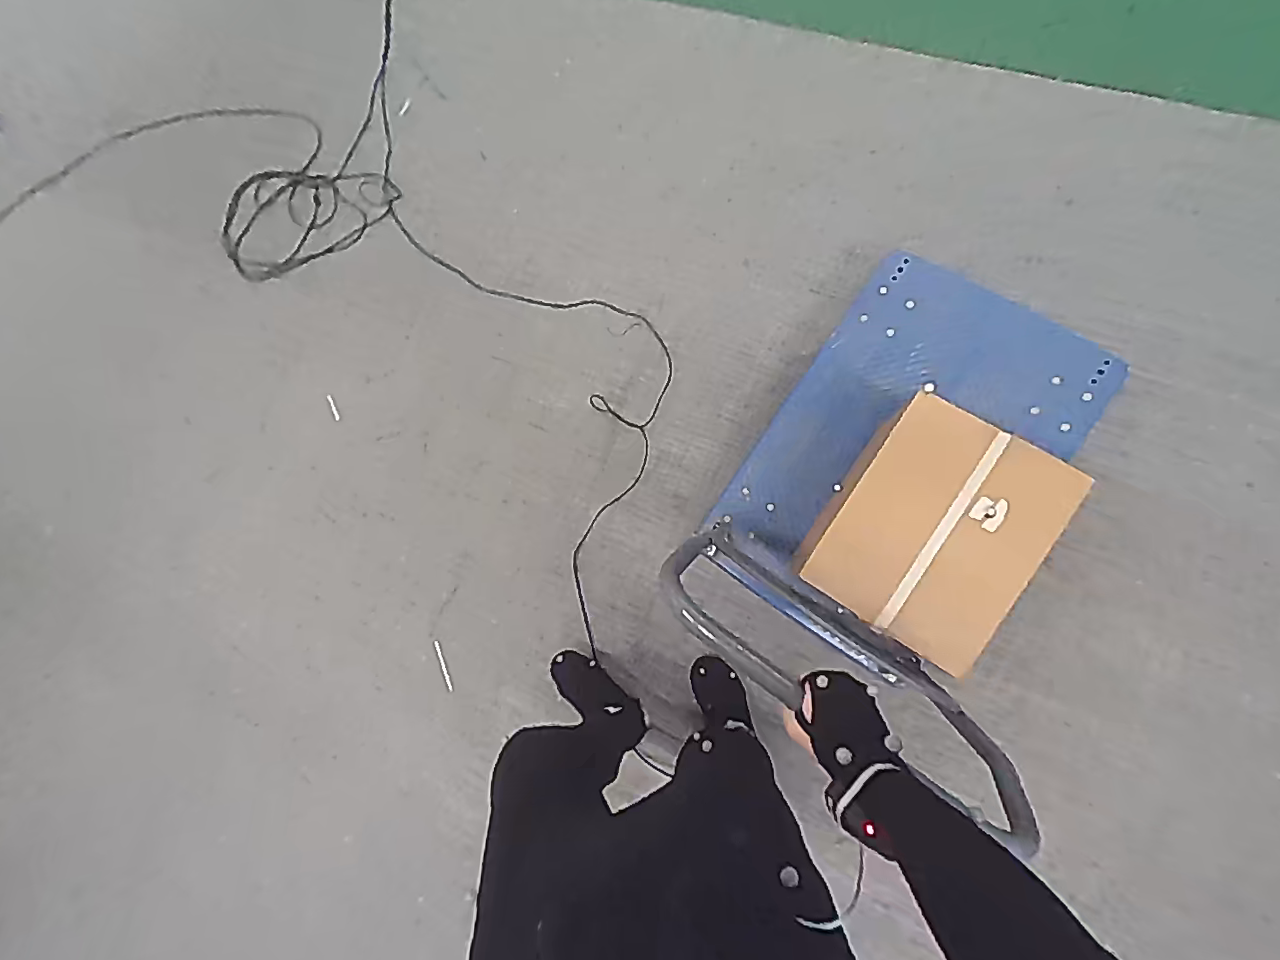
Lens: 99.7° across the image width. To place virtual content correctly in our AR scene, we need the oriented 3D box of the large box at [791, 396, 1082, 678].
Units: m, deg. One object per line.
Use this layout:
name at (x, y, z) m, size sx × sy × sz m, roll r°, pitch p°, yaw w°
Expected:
large box at (0.547, 0.112, 1.088) m, size 0.320 × 0.320 × 0.408 m, roll 33°, pitch 90°, yaw 12°
